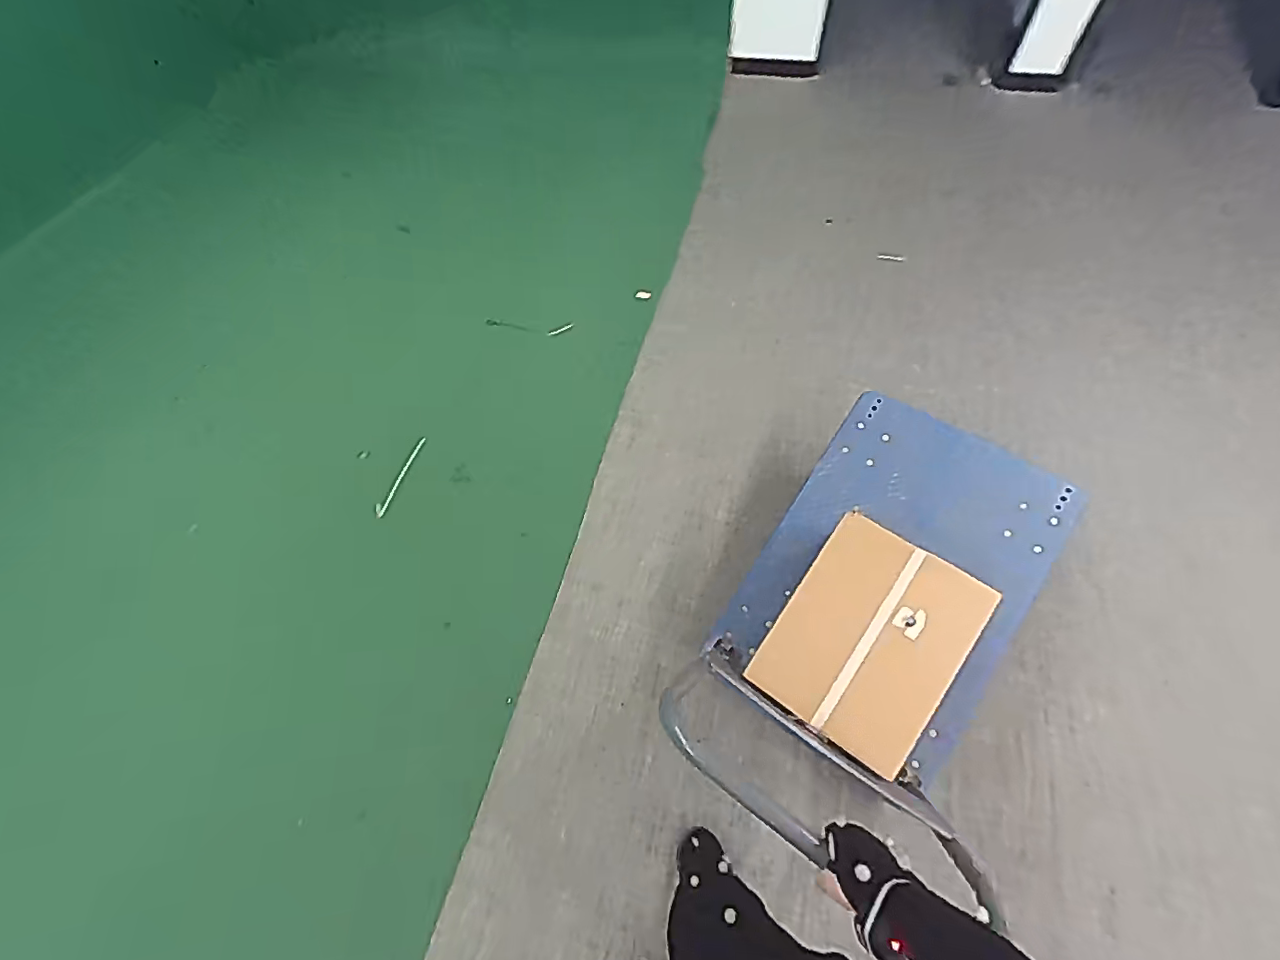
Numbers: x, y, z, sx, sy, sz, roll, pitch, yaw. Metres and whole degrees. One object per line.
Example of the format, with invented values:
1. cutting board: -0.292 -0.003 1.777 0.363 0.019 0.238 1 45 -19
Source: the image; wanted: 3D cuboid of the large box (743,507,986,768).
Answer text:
1. large box: 0.468 0.337 1.197 0.320 0.320 0.408 32 83 20
